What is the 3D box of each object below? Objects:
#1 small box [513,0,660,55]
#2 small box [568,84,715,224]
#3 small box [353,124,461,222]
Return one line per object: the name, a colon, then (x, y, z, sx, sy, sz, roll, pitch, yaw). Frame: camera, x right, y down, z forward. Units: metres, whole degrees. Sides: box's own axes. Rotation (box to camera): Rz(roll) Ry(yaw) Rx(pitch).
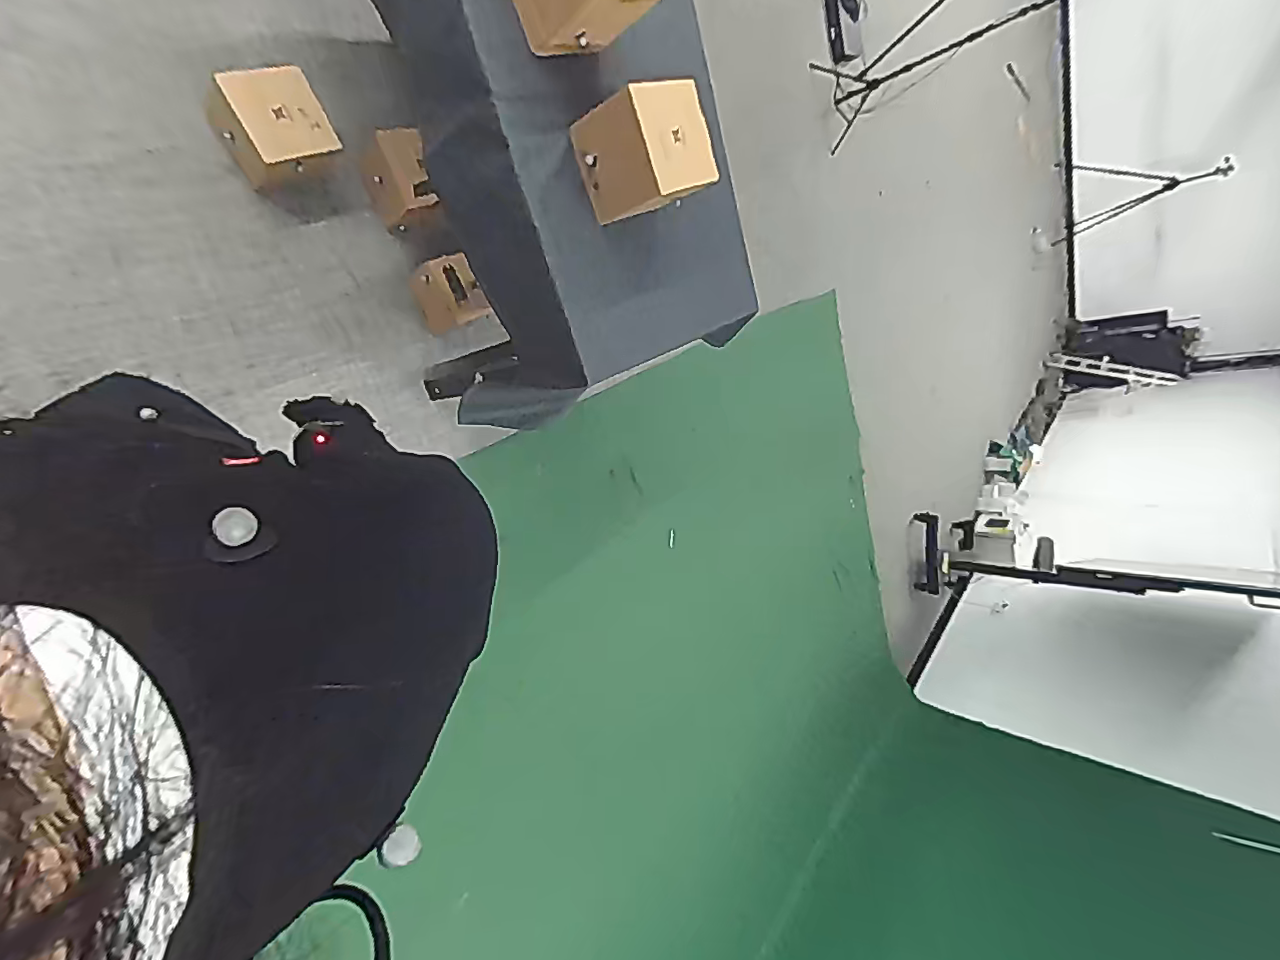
small box: (-0.102, -0.816, 0.853, 0.168, 0.176, 0.179, -39, 119, -36)
small box: (0.003, -0.582, 0.973, 0.179, 0.176, 0.168, -36, 116, -36)
small box: (-0.598, -0.780, 1.386, 0.168, 0.176, 0.179, -36, 116, -37)
